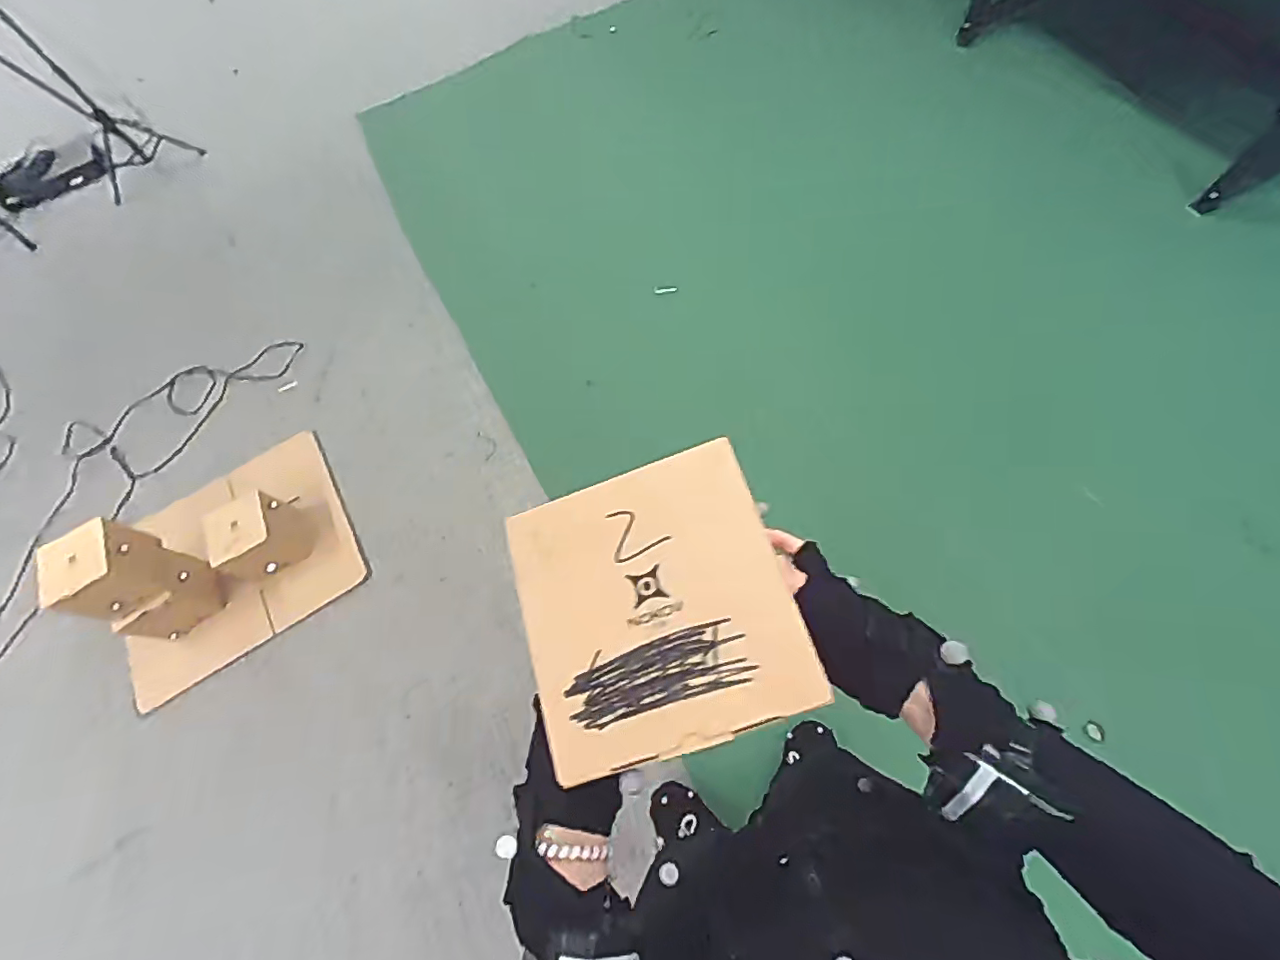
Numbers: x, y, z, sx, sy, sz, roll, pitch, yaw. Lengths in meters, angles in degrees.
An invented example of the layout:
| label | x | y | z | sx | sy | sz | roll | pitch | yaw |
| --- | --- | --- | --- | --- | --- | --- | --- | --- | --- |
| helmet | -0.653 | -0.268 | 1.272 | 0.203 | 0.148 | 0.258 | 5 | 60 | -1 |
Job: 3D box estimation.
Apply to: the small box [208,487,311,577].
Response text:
| label | x | y | z | sx | sy | sz | roll | pitch | yaw |
| --- | --- | --- | --- | --- | --- | --- | --- | --- | --- |
| small box | -1.088 | 0.154 | 1.554 | 0.168 | 0.176 | 0.179 | -28 | 66 | -4 |

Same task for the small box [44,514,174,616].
| label | x | y | z | sx | sy | sz | roll | pitch | yaw |
| --- | --- | --- | --- | --- | --- | --- | --- | --- | --- |
| small box | -1.346 | 0.221 | 1.377 | 0.168 | 0.176 | 0.179 | -31 | 65 | -7 |

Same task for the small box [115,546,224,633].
| label | x | y | z | sx | sy | sz | roll | pitch | yaw |
| --- | --- | --- | --- | --- | --- | --- | --- | --- | --- |
| small box | -1.315 | 0.311 | 1.512 | 0.168 | 0.176 | 0.179 | -34 | 66 | -8 |
